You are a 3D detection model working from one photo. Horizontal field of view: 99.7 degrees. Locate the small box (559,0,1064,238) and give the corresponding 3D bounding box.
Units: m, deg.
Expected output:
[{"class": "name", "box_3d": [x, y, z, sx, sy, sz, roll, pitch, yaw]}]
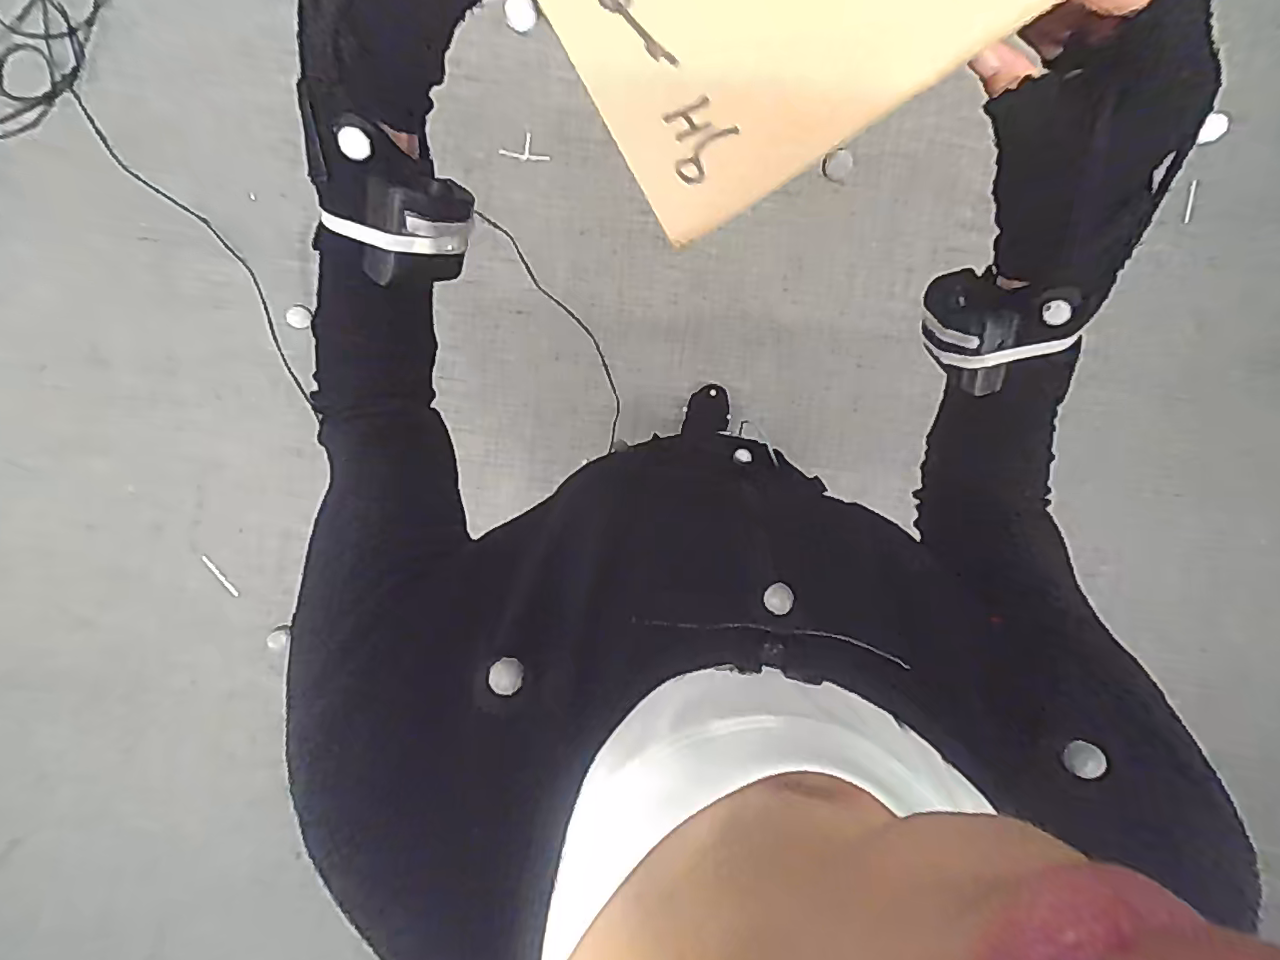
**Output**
[{"class": "small box", "box_3d": [0.057, -0.234, 0.236, 0.179, 0.176, 0.168, -27, 111, 19]}]
